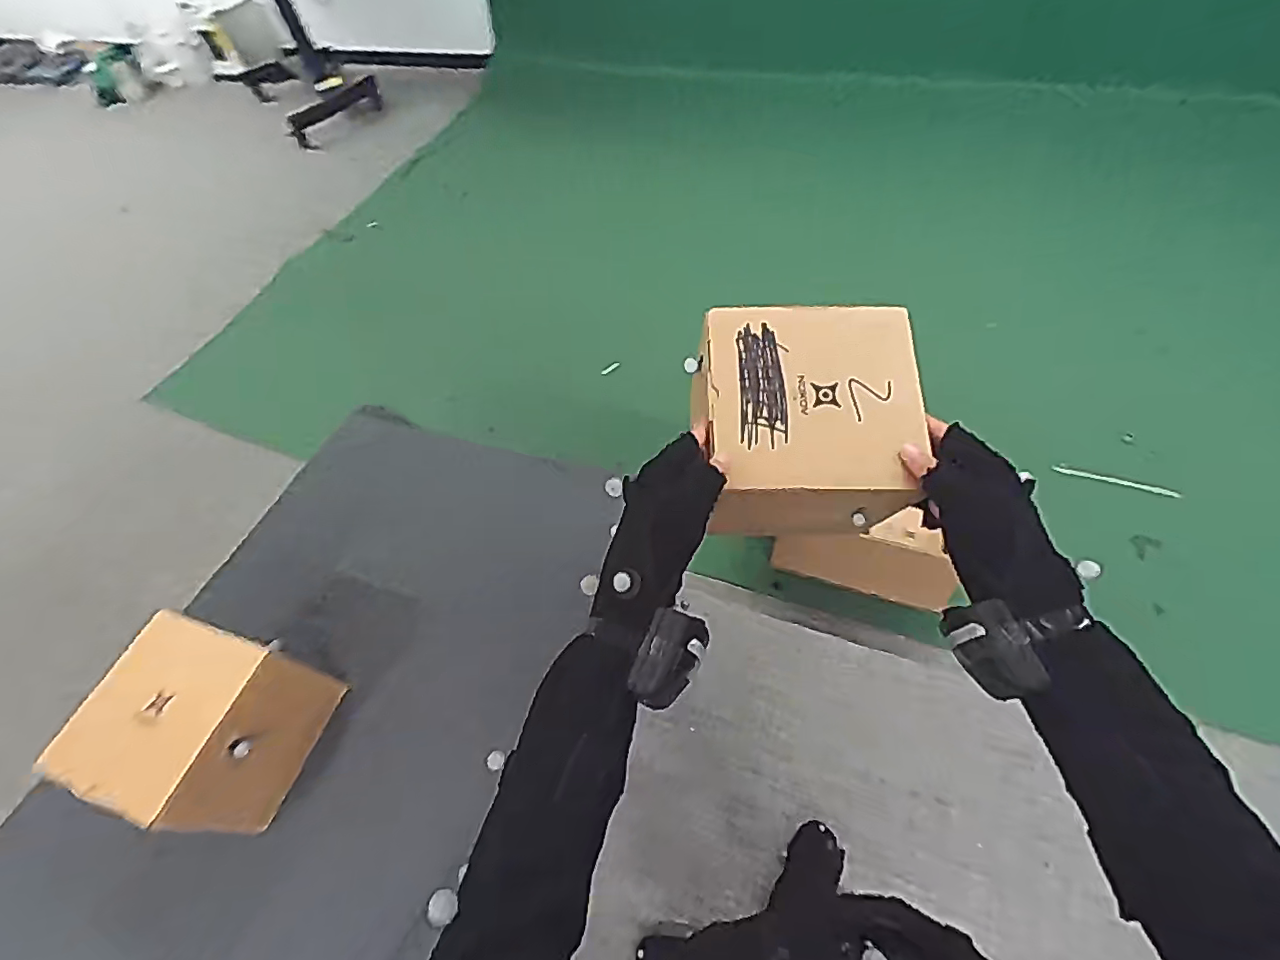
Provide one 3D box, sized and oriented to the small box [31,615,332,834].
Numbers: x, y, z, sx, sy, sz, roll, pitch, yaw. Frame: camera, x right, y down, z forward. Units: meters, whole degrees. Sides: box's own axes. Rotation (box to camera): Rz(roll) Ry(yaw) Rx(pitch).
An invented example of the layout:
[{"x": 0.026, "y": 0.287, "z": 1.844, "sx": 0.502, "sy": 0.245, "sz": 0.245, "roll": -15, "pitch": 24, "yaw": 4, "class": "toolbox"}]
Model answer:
[{"x": -0.503, "y": 0.286, "z": 0.632, "sx": 0.168, "sy": 0.176, "sz": 0.179, "roll": 13, "pitch": 60, "yaw": 14, "class": "small box"}]
